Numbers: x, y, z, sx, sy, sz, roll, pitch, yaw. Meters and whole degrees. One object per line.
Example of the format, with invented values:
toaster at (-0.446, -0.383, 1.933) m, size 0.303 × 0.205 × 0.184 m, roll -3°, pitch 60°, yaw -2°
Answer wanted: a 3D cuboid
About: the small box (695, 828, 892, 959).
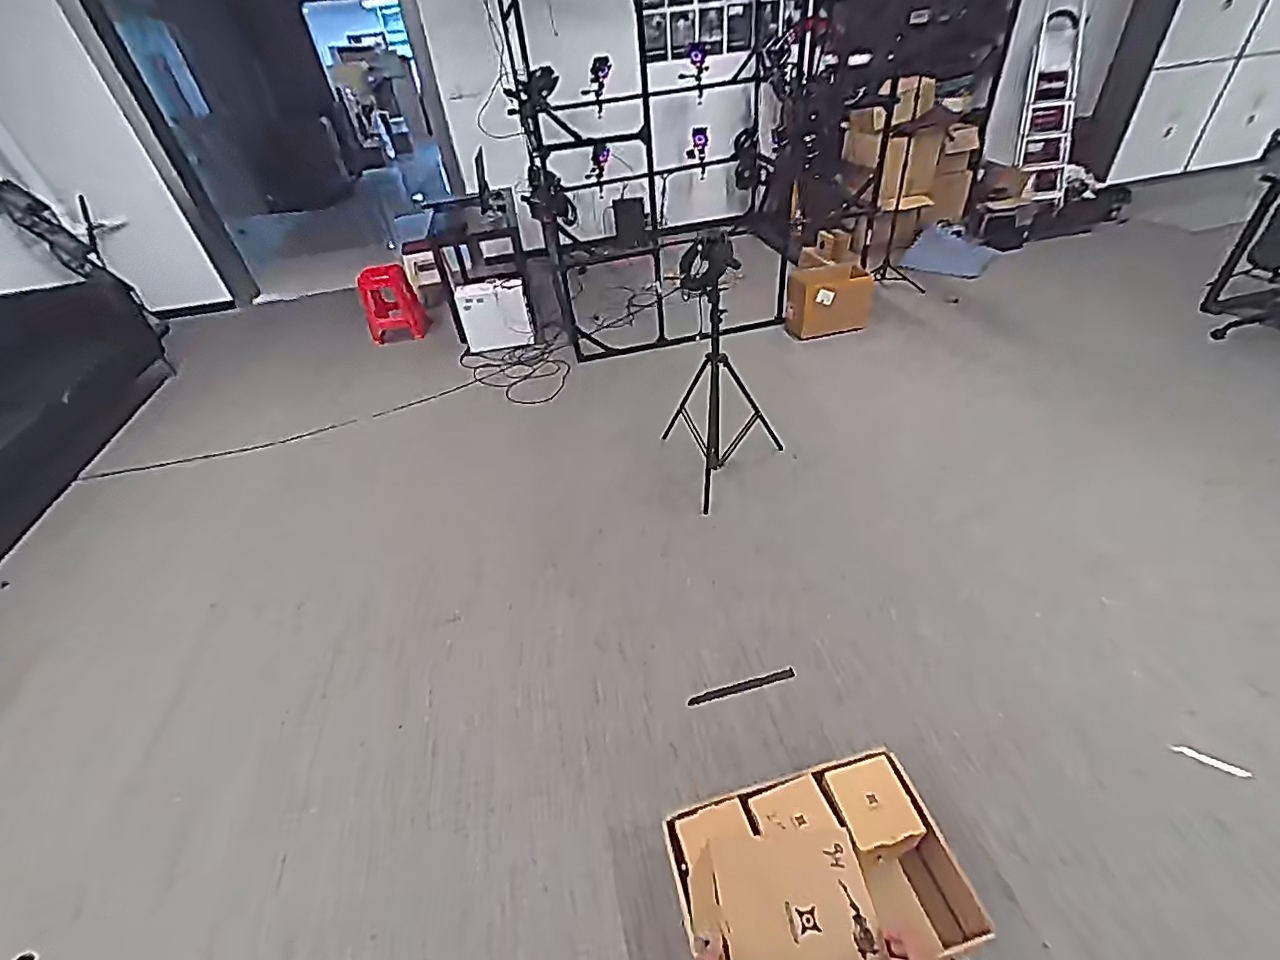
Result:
small box at (0.164, 0.530, 0.626) m, size 0.179 × 0.176 × 0.168 m, roll -1°, pitch 42°, yaw -7°
